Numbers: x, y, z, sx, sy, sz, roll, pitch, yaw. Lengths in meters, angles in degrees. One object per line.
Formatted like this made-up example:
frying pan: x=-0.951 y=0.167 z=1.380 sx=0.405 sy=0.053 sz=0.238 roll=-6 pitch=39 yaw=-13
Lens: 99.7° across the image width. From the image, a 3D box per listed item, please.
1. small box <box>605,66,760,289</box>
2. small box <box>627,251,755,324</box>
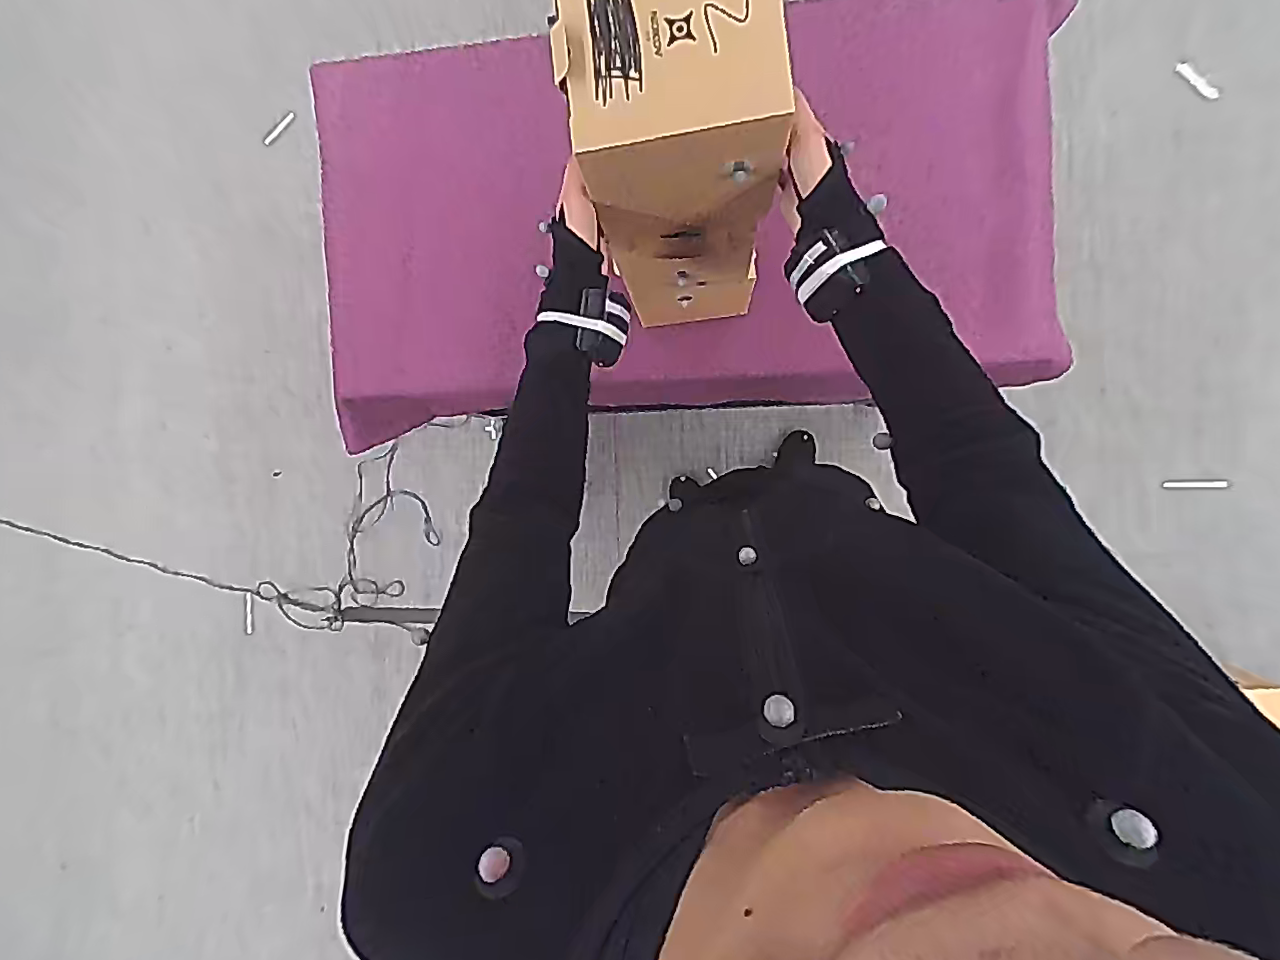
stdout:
small box: x=0.053 y=-0.348 z=0.654 sx=0.168 sy=0.176 sz=0.179 roll=0 pitch=91 yaw=7
small box: x=0.073 y=-0.346 z=0.817 sx=0.179 sy=0.176 sz=0.168 roll=-6 pitch=90 yaw=6
